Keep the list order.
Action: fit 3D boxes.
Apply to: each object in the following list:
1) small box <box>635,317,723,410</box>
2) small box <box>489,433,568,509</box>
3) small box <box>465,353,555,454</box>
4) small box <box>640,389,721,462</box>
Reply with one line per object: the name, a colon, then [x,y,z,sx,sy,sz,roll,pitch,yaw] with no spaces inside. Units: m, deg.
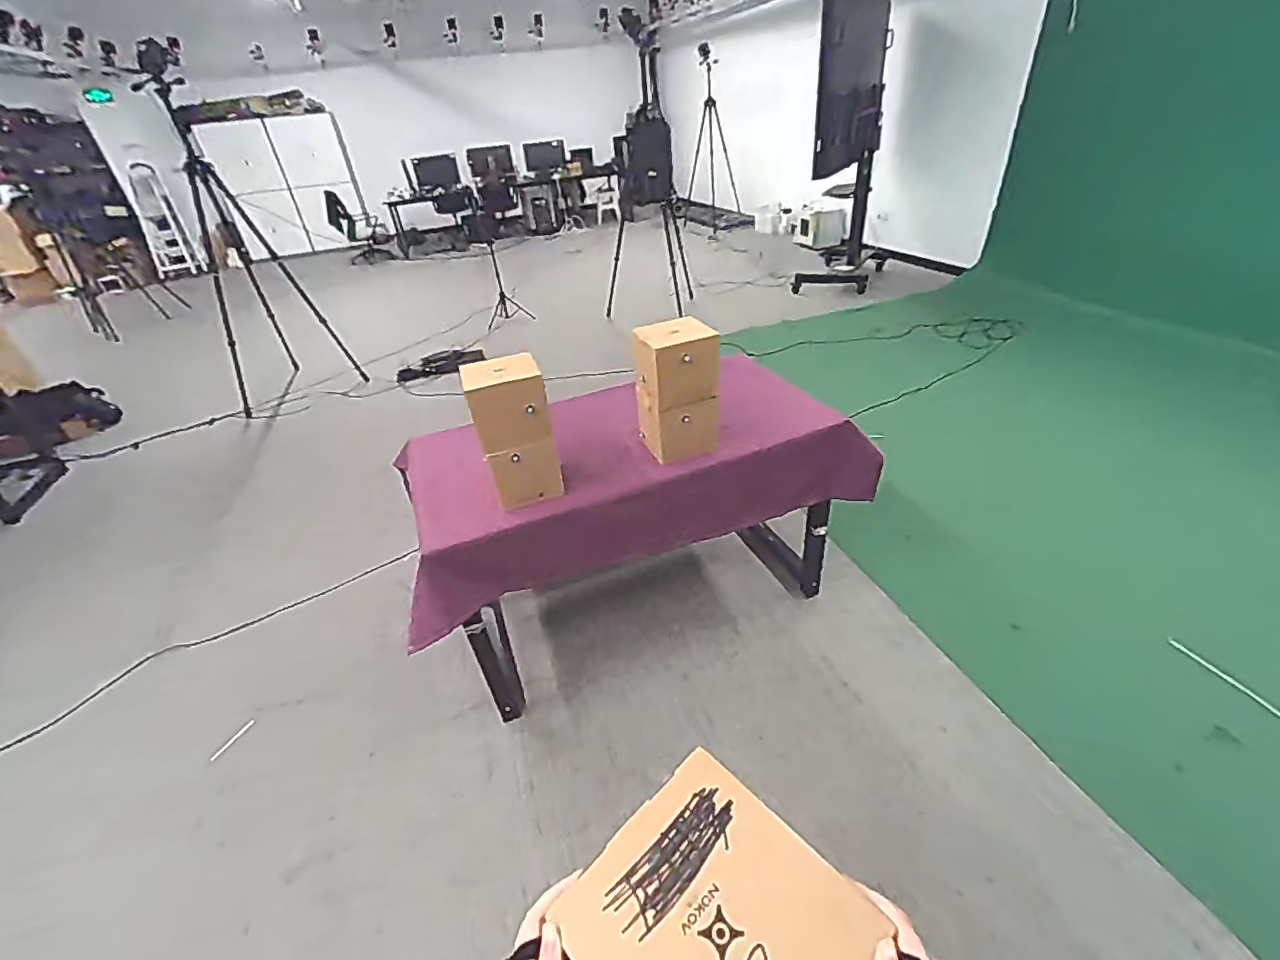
small box: [0.101,-0.302,1.402,0.179,0.176,0.168,-18,36,-14]
small box: [-0.294,-0.050,1.394,0.168,0.176,0.179,-16,35,-12]
small box: [-0.310,-0.185,1.301,0.179,0.176,0.168,-15,35,-12]
small box: [0.114,-0.168,1.493,0.179,0.176,0.168,-16,36,-14]
